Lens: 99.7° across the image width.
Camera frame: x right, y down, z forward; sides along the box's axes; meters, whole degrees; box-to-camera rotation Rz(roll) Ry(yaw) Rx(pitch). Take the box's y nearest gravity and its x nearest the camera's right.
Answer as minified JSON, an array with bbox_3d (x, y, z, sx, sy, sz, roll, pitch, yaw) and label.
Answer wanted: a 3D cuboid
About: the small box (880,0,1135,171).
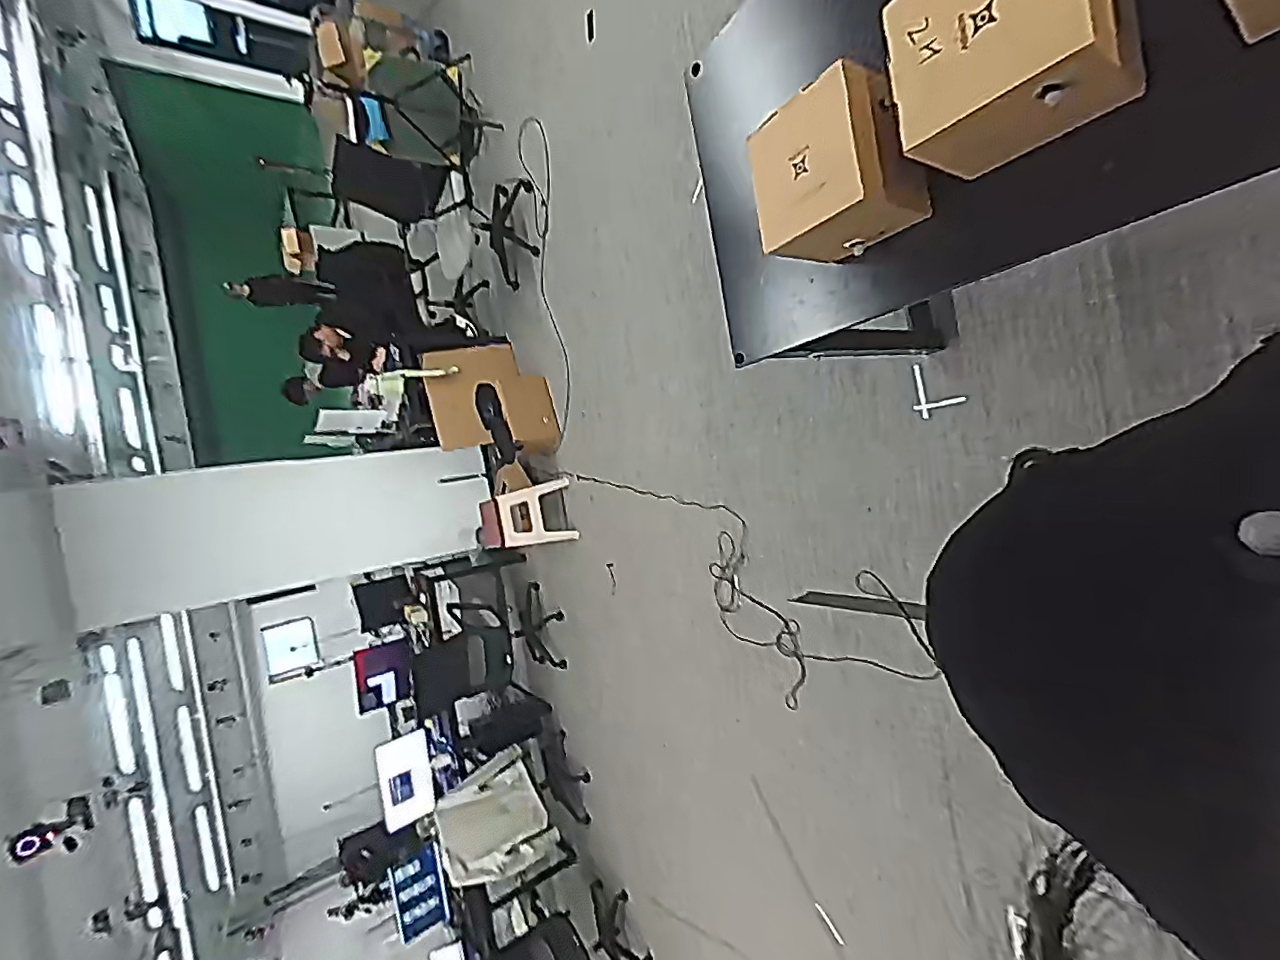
[{"bbox_3d":[0.392,-0.465,0.577,0.179,0.176,0.168,-7,92,56],"label":"small box"}]

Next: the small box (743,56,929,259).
[{"bbox_3d":[0.274,-0.432,0.759,0.168,0.176,0.179,-10,91,57],"label":"small box"}]
